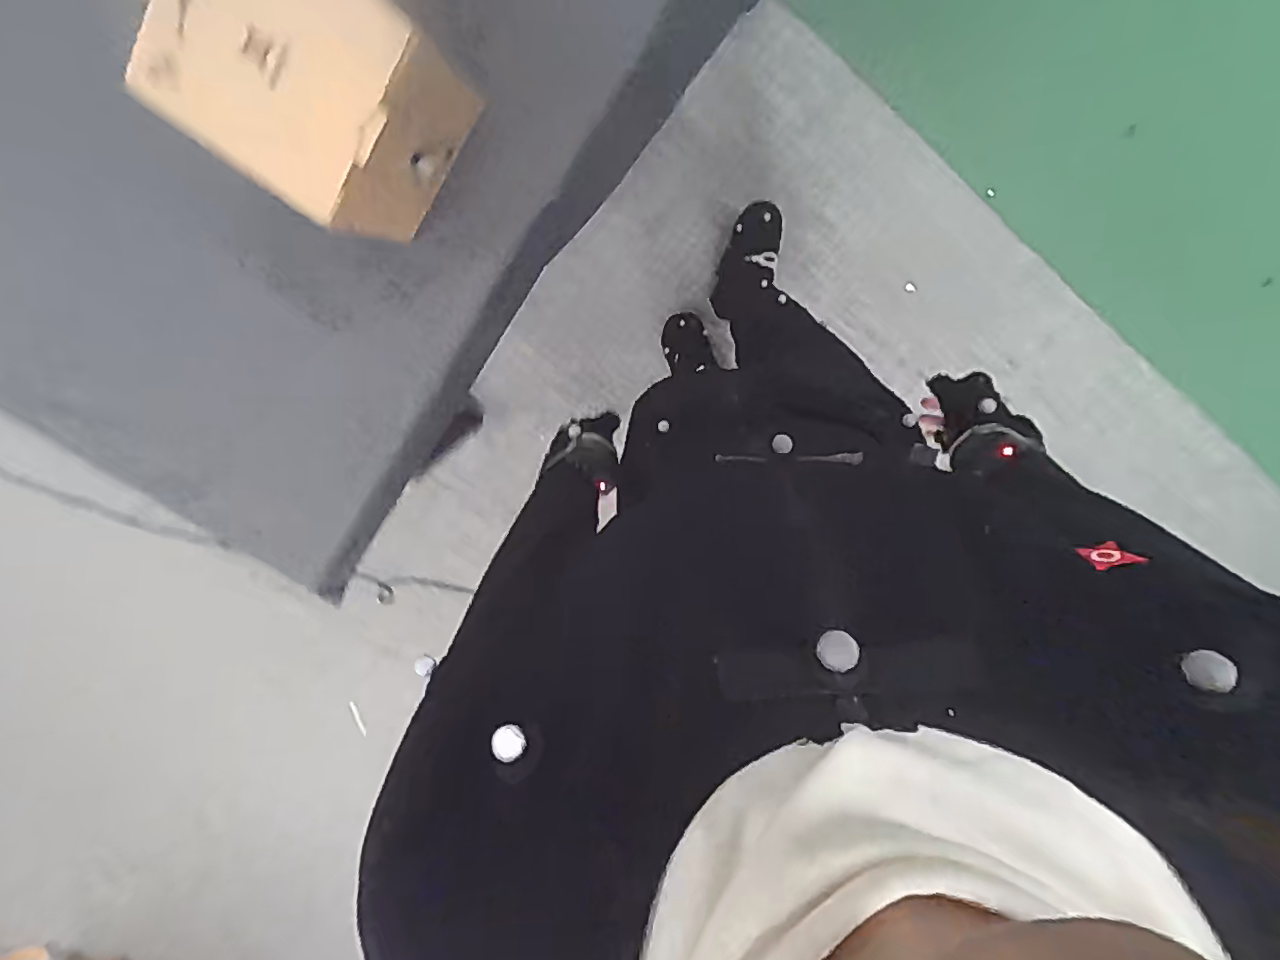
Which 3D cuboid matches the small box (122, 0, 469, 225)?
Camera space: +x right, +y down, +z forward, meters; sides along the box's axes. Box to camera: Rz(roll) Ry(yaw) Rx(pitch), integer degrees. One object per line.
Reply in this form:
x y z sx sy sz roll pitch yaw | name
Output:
-0.284 -0.354 0.486 0.179 0.176 0.168 35 107 -11 | small box
